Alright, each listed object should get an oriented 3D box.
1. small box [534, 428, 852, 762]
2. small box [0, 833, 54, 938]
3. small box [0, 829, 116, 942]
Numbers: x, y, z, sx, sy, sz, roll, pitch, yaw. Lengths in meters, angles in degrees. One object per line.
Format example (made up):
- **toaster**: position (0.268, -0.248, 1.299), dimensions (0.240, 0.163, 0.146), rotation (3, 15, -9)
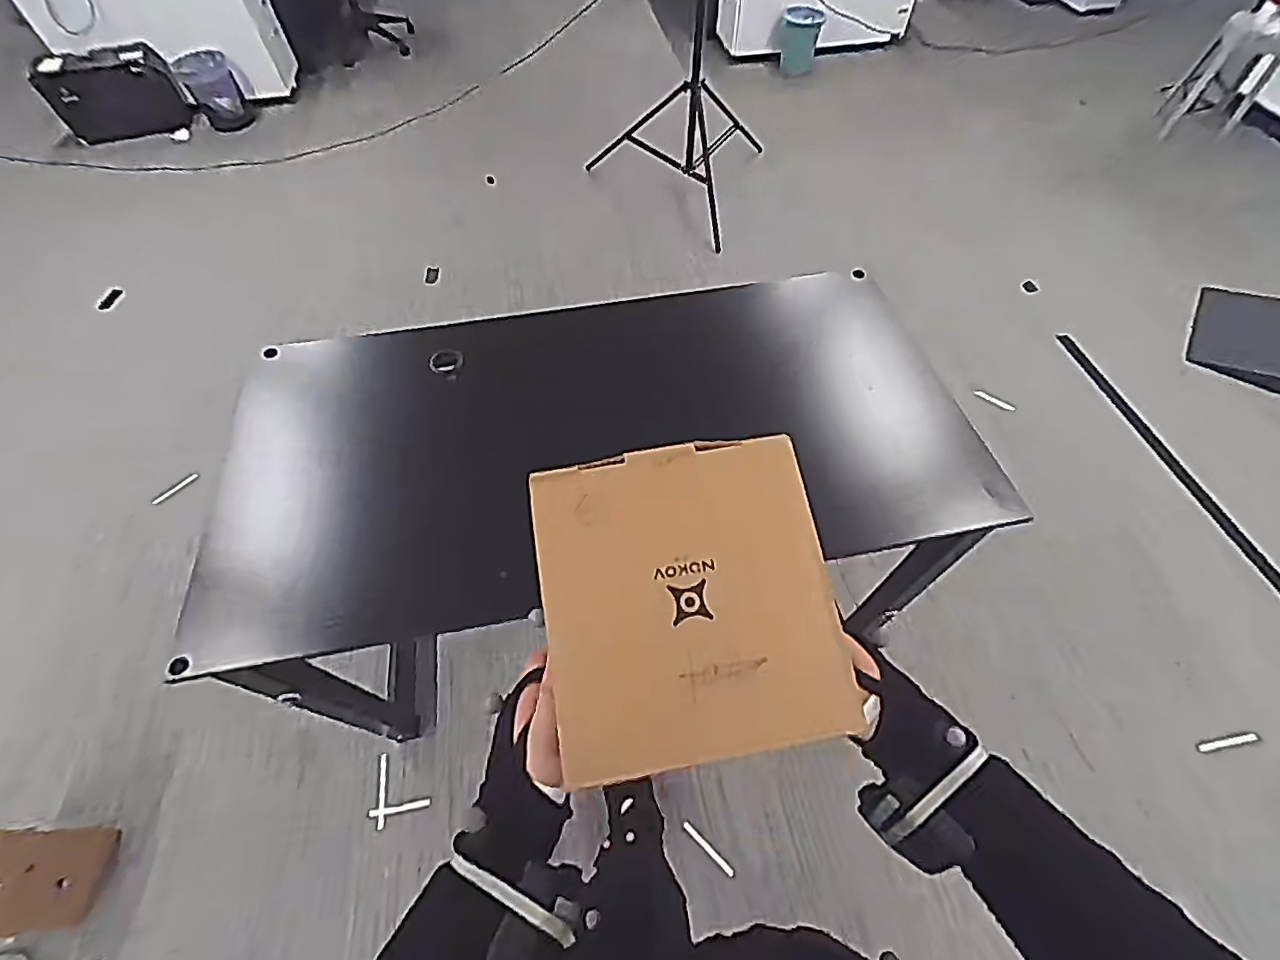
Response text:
- **small box**: position (0.023, 0.082, 0.394), dimensions (0.168, 0.176, 0.179), rotation (-9, 74, -4)
- **small box**: position (-1.232, 0.731, 0.960), dimensions (0.179, 0.176, 0.168), rotation (-5, 56, -2)
- **small box**: position (-1.241, 0.818, 1.100), dimensions (0.168, 0.176, 0.179), rotation (-2, 57, 0)
